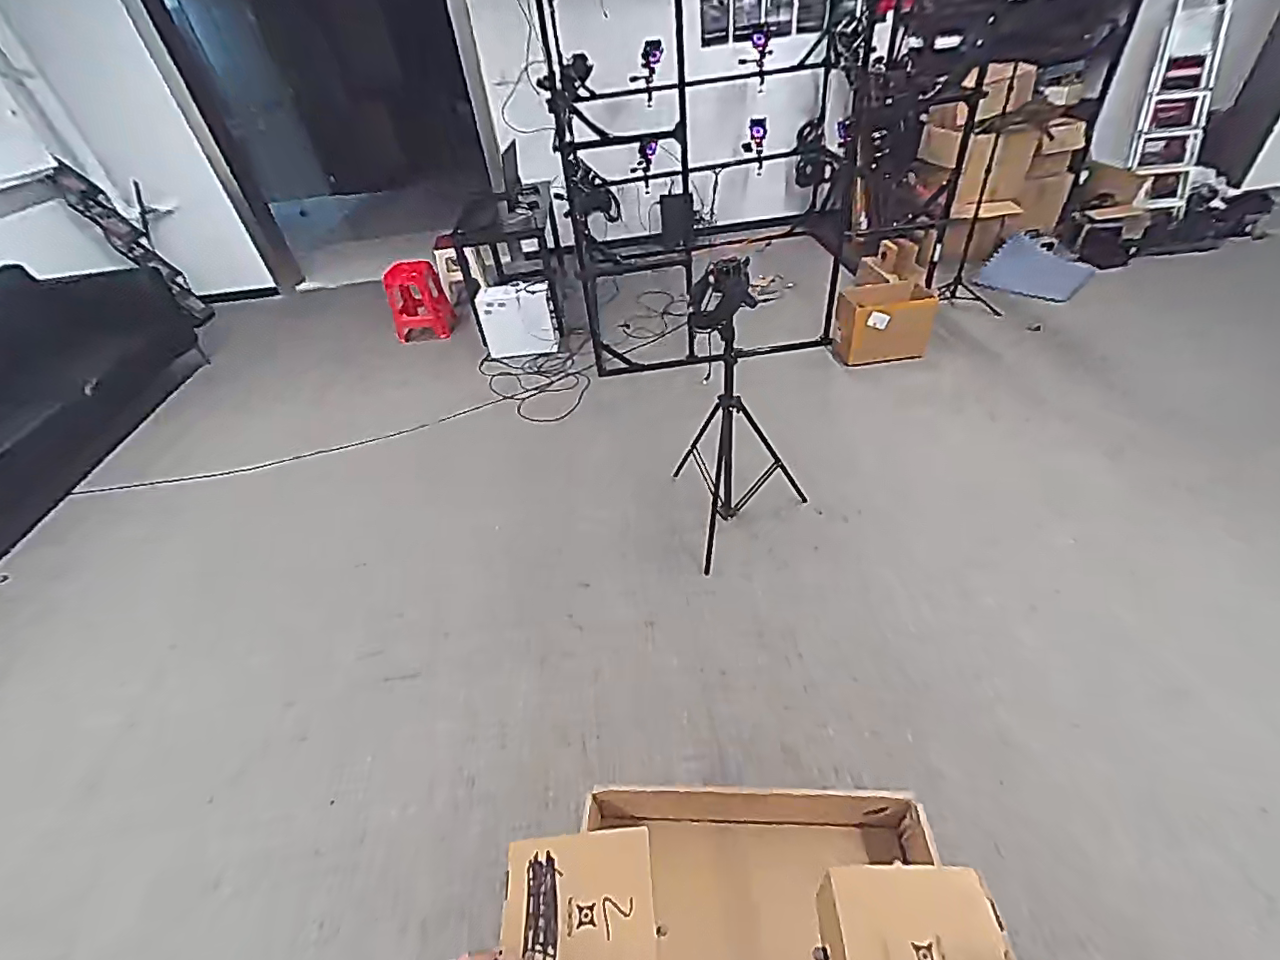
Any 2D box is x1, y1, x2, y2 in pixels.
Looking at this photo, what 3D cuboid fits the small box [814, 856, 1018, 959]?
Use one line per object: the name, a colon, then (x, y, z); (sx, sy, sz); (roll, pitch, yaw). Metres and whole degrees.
small box: (0.314, 0.558, 0.624); (0.179, 0.176, 0.168); (-2, 40, 5)
